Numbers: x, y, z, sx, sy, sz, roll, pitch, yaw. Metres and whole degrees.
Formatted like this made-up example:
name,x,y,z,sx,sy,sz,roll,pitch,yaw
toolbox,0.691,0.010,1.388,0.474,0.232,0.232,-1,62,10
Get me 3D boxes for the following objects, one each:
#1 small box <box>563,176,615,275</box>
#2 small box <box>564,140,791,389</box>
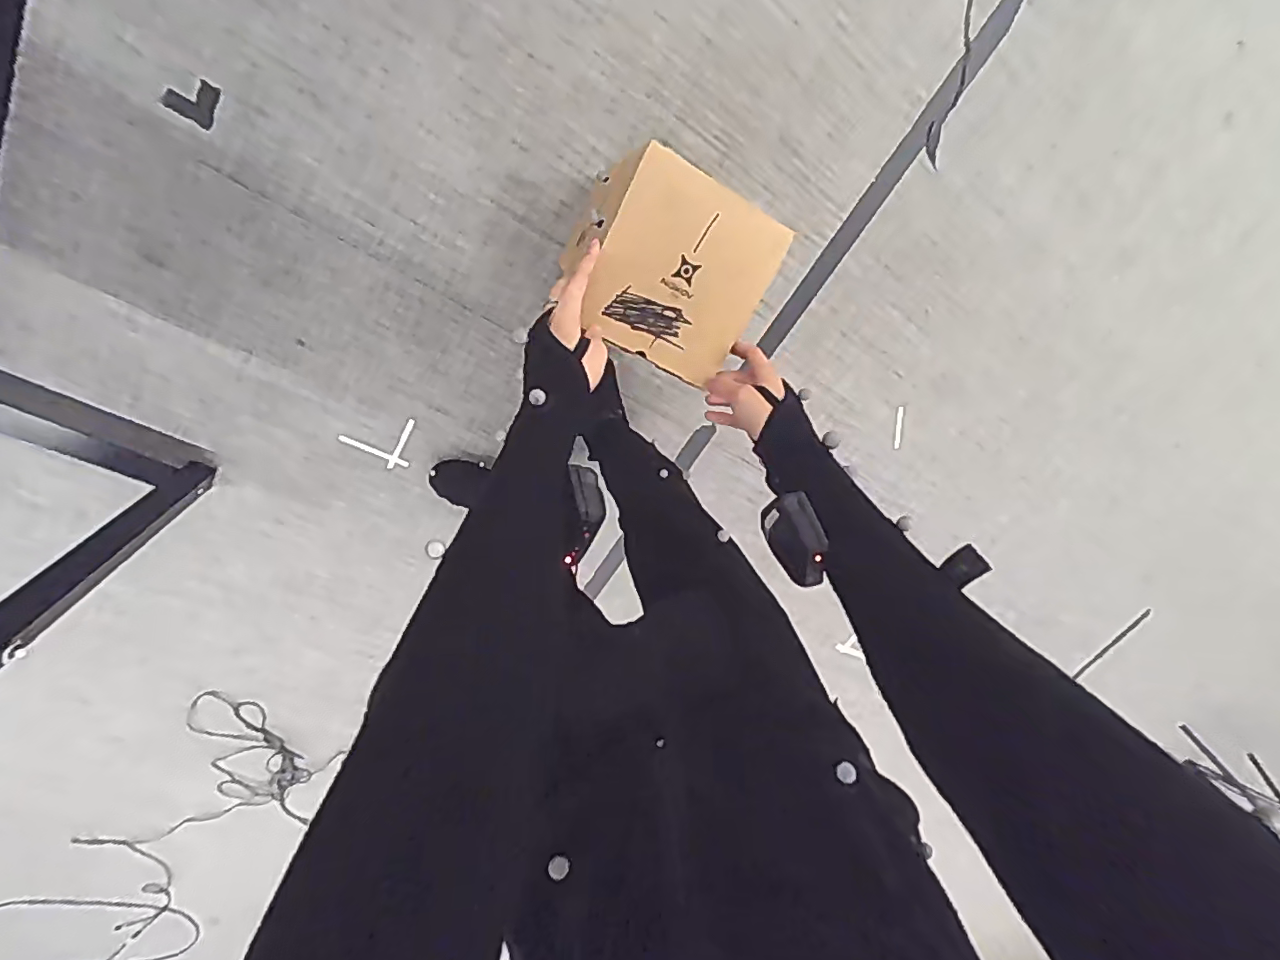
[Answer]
name,x,y,z,sx,sy,sz,roll,pitch,yaw
small box,-0.041,-0.447,1.028,0.168,0.176,0.179,24,111,-20
small box,0.026,-0.231,0.592,0.168,0.176,0.179,22,111,-20
